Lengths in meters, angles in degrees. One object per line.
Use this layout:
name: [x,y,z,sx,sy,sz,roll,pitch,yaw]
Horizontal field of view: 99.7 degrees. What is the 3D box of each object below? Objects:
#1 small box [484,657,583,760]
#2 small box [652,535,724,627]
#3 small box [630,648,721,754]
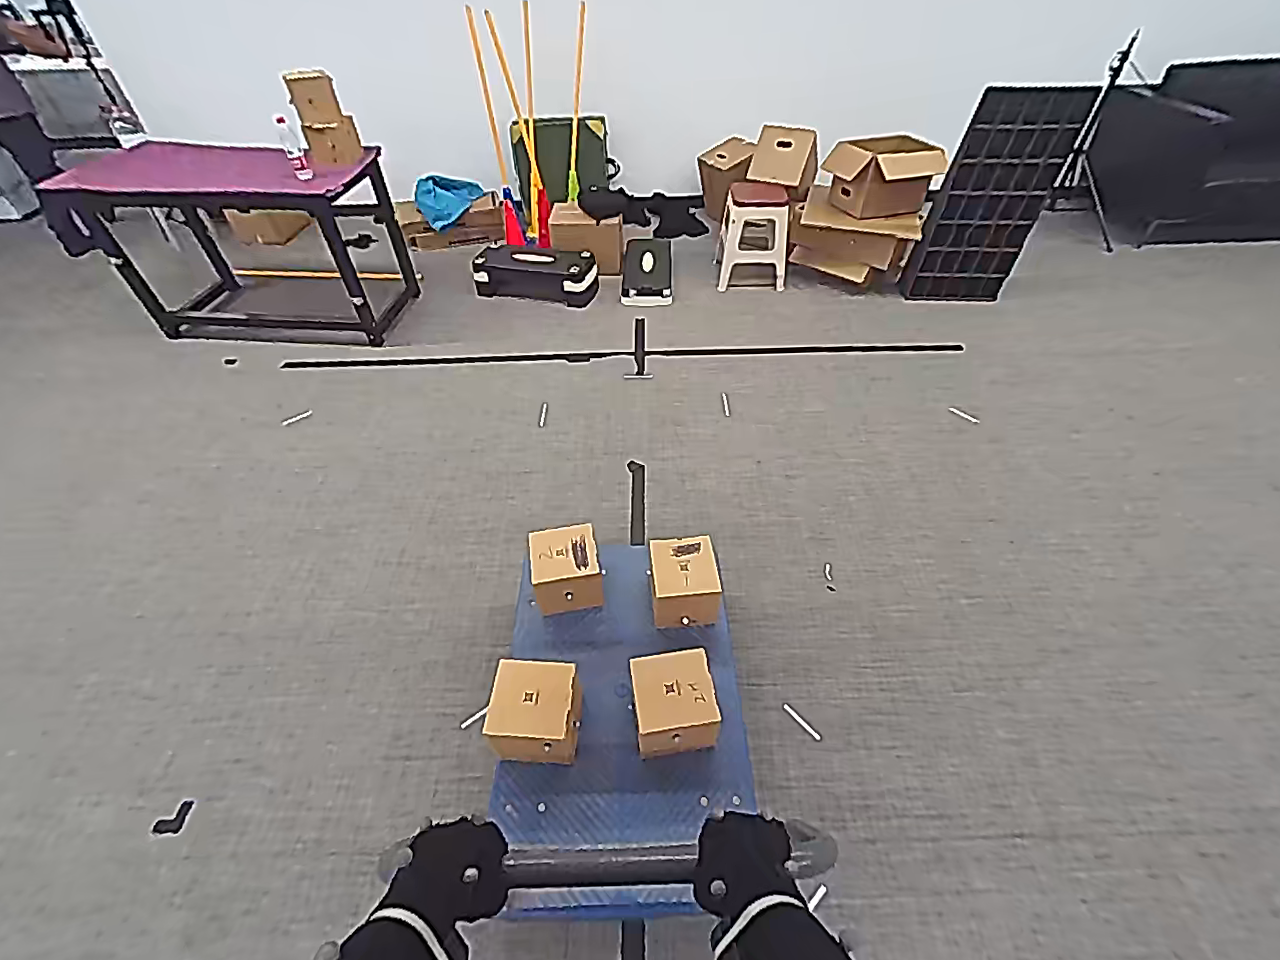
small box: [-0.231,0.519,1.223,0.179,0.176,0.168,3,47,2]
small box: [0.121,0.270,1.443,0.168,0.176,0.179,-4,48,-2]
small box: [0.077,0.504,1.228,0.179,0.176,0.168,-7,48,-4]
